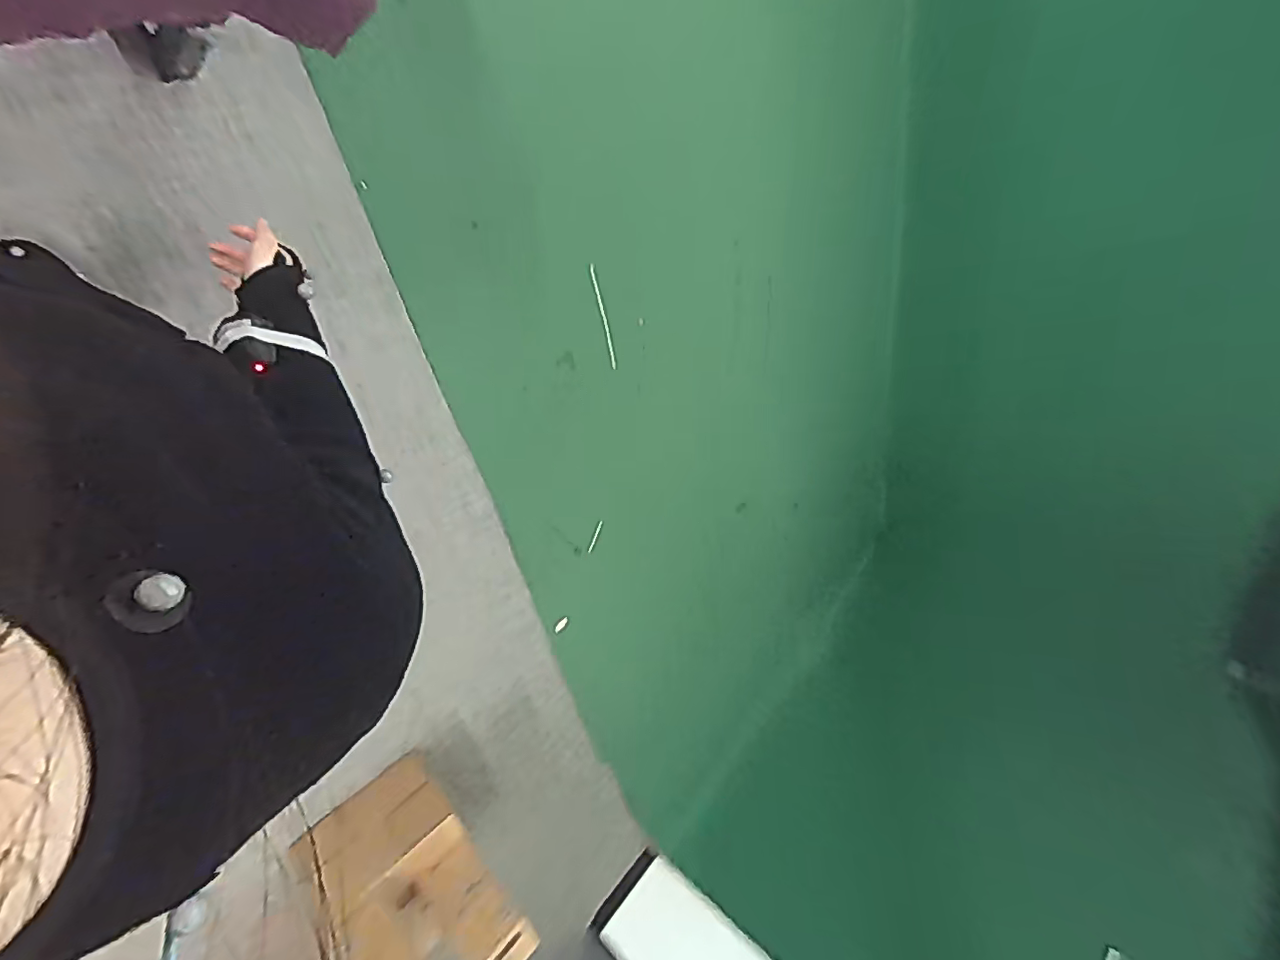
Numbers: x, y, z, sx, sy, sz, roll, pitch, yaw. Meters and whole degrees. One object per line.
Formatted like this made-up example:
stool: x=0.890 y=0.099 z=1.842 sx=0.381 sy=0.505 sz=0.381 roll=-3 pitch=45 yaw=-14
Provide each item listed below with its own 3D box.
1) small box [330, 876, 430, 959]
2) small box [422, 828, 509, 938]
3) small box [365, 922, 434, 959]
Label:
small box: x=-0.692 y=1.206 z=1.434 sx=0.168 sy=0.176 sz=0.179 roll=-29 pitch=127 yaw=-34
small box: x=-0.520 y=1.193 z=1.613 sx=0.168 sy=0.176 sz=0.179 roll=-31 pitch=128 yaw=-36
small box: x=-0.587 y=1.249 z=1.316 sx=0.179 sy=0.176 sz=0.168 roll=-29 pitch=125 yaw=-35
